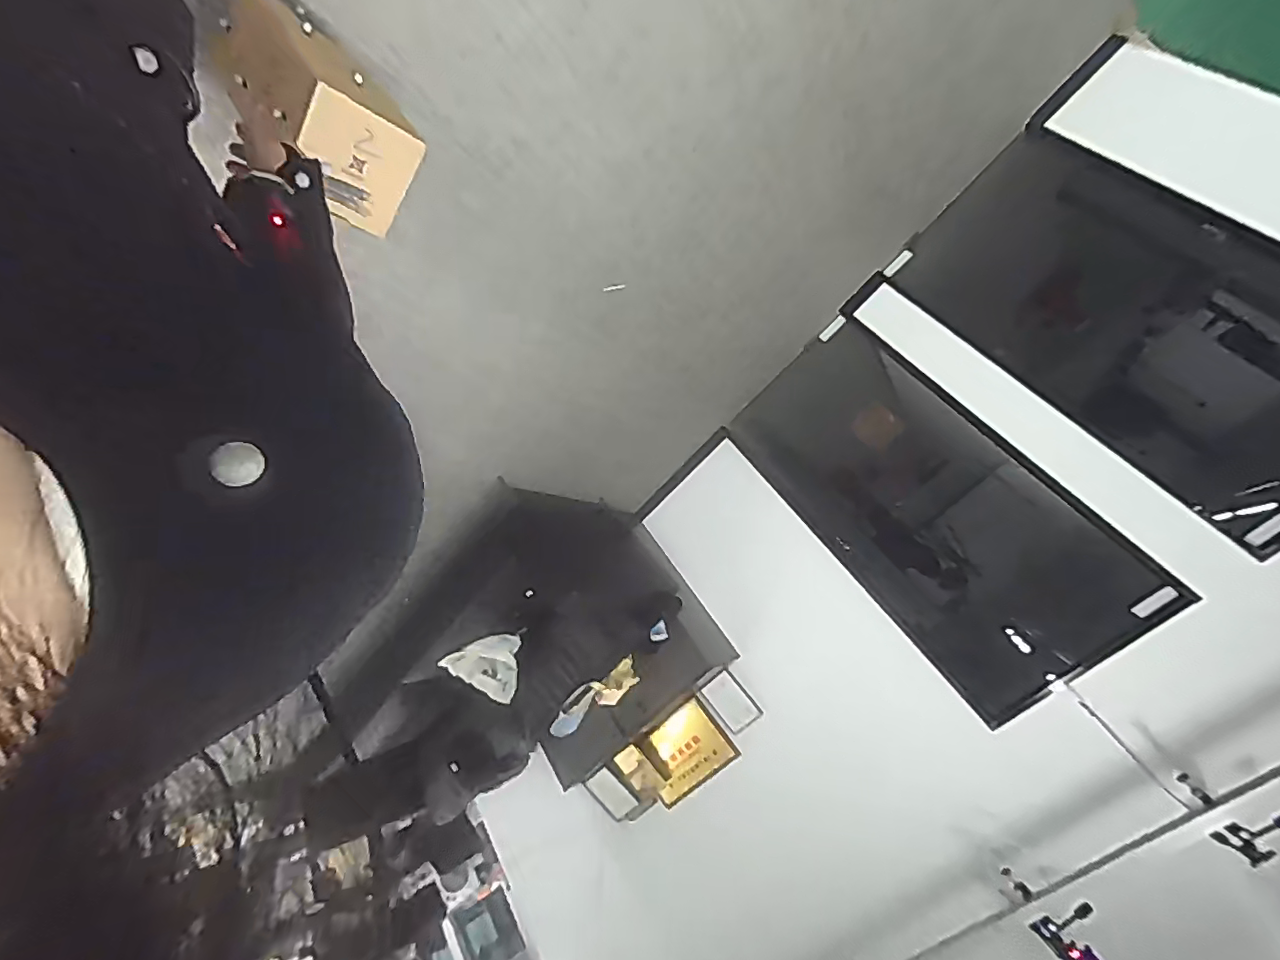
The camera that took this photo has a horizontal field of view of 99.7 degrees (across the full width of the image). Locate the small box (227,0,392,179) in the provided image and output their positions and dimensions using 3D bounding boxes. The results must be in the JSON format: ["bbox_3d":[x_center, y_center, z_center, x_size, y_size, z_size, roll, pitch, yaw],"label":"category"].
[{"bbox_3d":[-0.575,-0.675,0.934,0.168,0.176,0.179,-46,154,22],"label":"small box"}]

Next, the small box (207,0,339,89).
[{"bbox_3d":[-0.668,-0.787,1.008,0.168,0.176,0.179,-45,153,19],"label":"small box"}]
